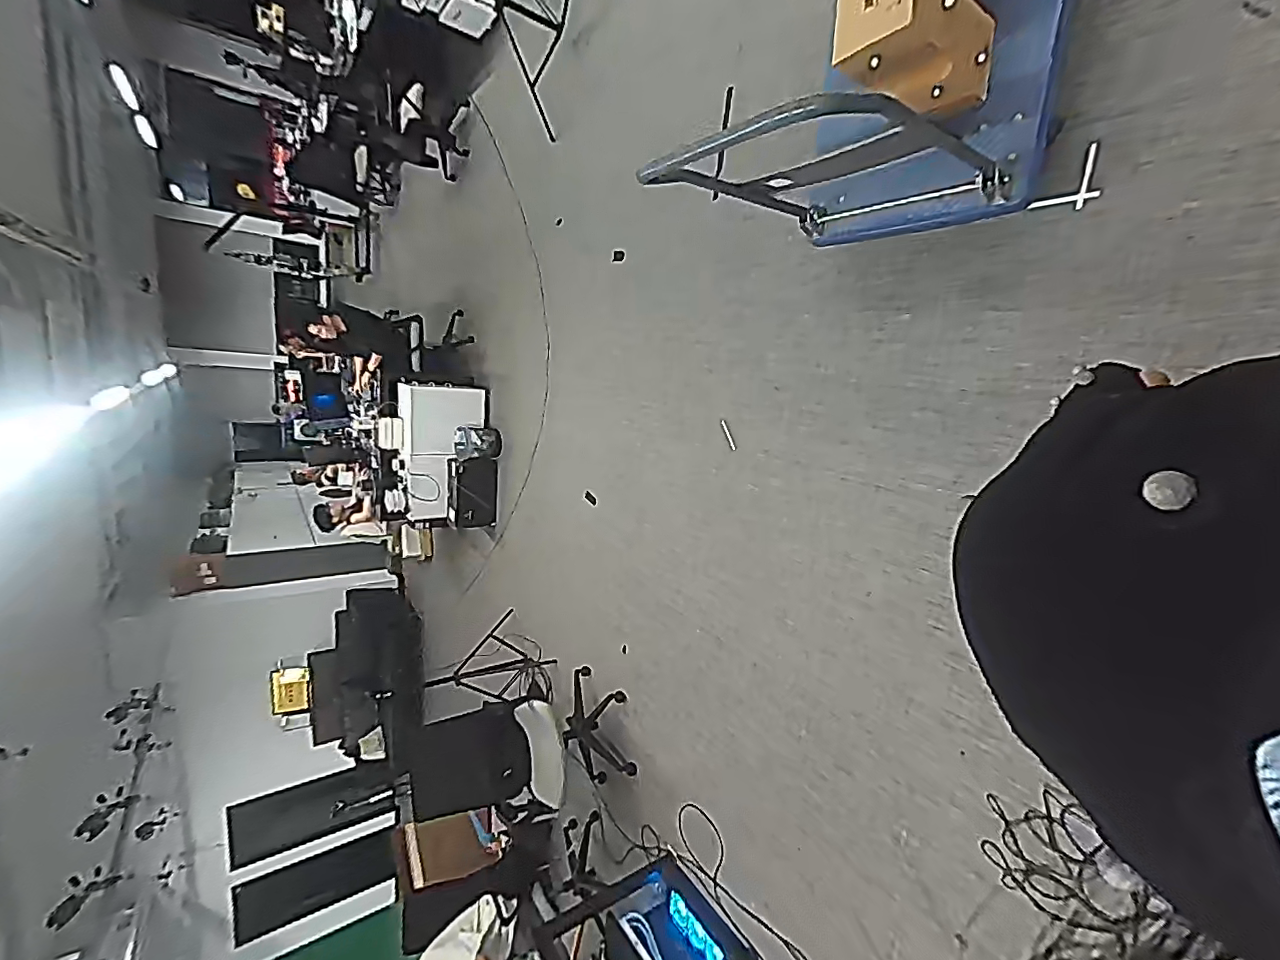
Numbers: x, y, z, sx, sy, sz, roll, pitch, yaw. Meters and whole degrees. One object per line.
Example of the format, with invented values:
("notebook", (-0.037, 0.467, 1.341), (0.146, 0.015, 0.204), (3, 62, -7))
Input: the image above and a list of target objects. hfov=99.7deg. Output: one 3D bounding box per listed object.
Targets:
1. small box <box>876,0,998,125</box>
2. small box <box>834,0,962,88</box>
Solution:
("small box", (0.665, -0.937, 1.214), (0.179, 0.176, 0.168), (13, 103, 53))
("small box", (0.533, -0.956, 1.114), (0.179, 0.176, 0.168), (14, 104, 53))
